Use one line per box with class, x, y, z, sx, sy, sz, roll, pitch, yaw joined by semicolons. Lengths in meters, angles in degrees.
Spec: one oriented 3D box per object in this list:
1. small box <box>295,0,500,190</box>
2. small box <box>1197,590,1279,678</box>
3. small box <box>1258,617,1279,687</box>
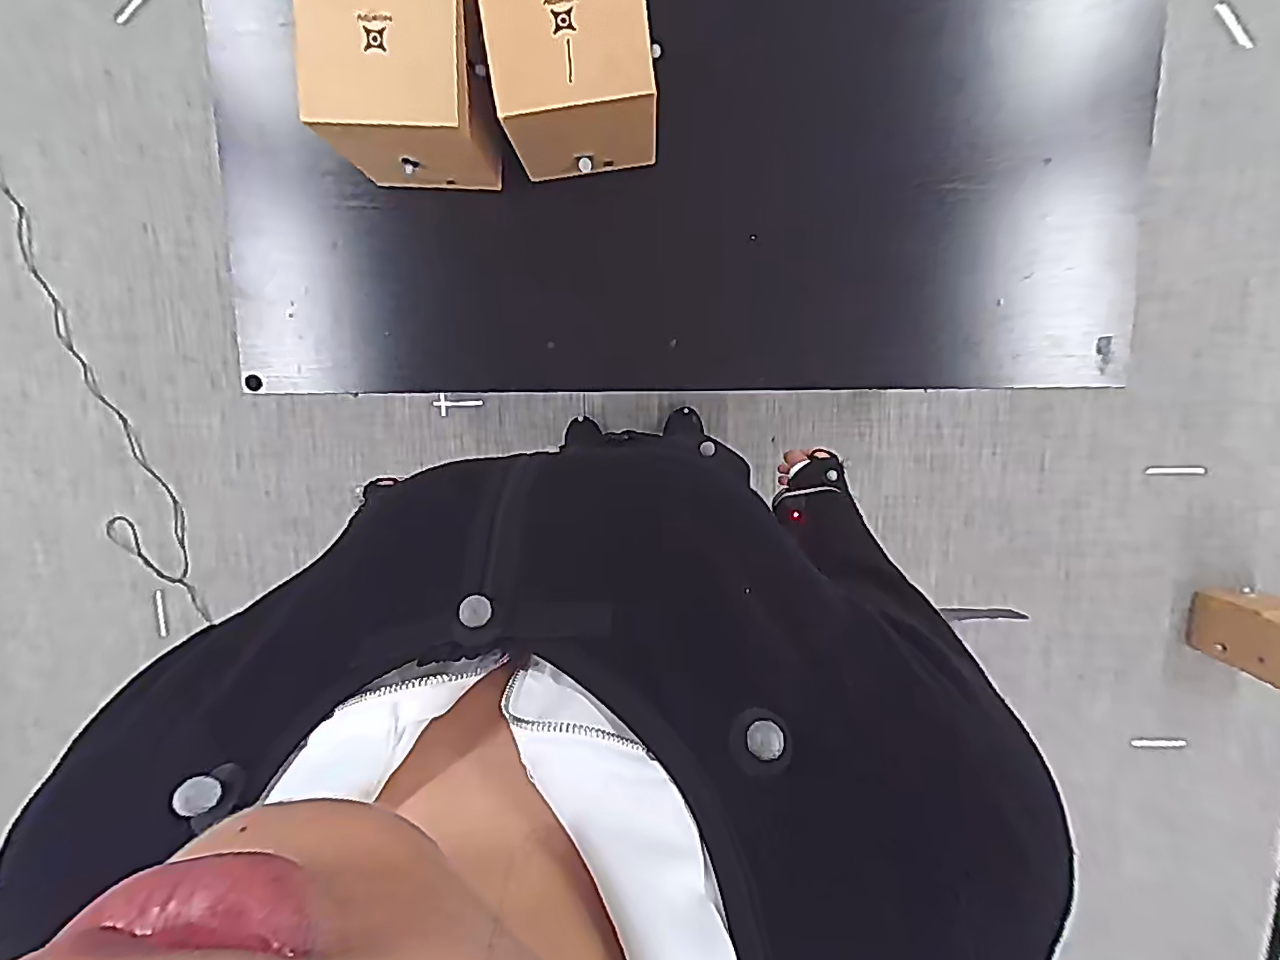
small box;-0.263;-0.456;0.625;0.168;0.176;0.179;2;97;0
small box;1.629;0.399;1.417;0.168;0.176;0.179;-1;97;1
small box;1.623;0.423;1.255;0.179;0.176;0.168;-3;98;1
